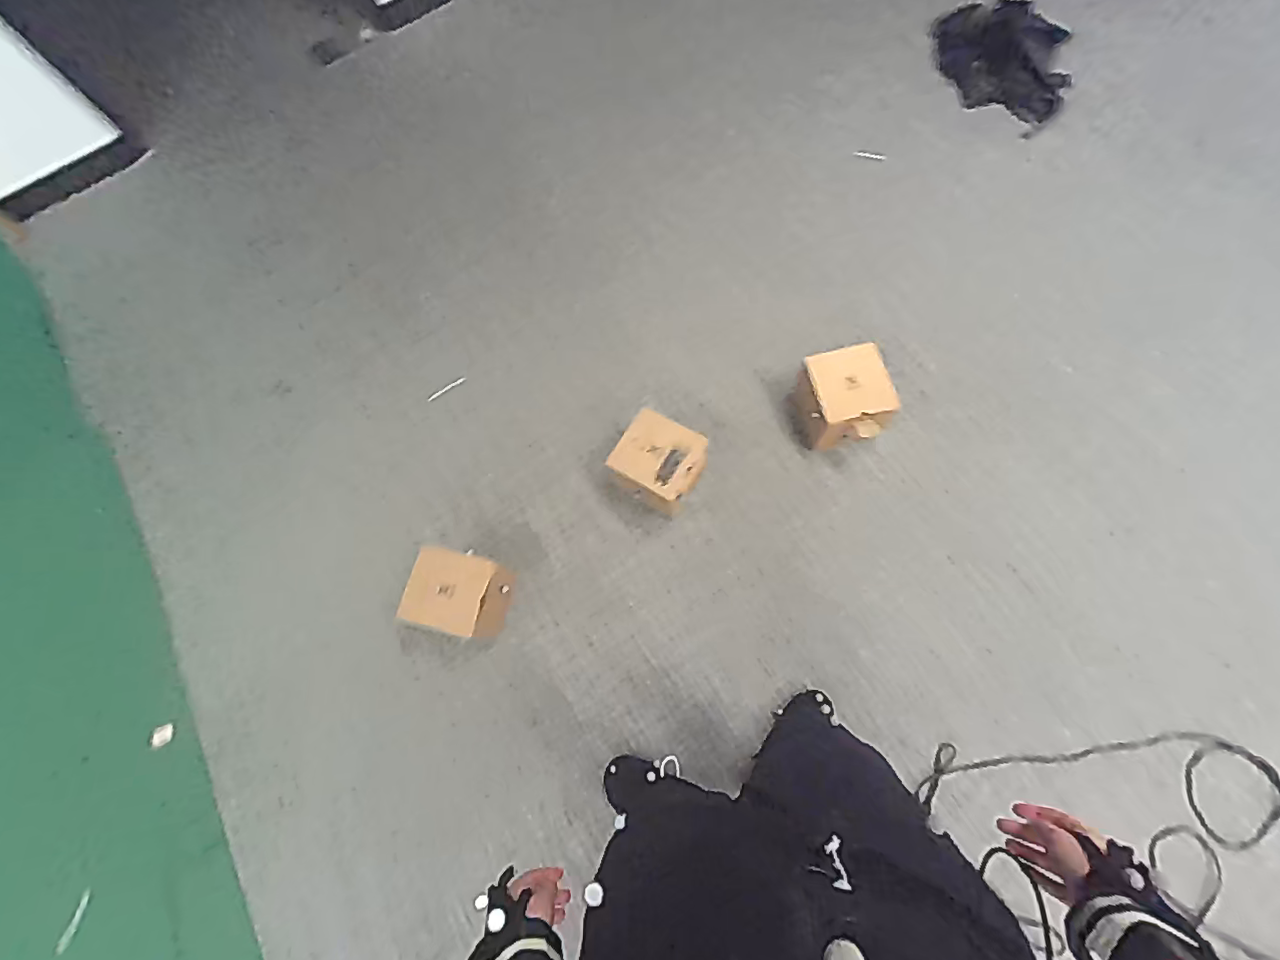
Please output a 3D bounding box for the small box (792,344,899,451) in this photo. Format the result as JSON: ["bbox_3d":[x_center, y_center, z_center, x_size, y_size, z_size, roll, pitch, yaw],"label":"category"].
[{"bbox_3d":[0.475,-0.191,1.284,0.168,0.176,0.179,-13,71,0],"label":"small box"}]

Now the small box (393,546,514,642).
[{"bbox_3d":[-0.401,0.259,1.200,0.179,0.176,0.168,12,71,10],"label":"small box"}]
